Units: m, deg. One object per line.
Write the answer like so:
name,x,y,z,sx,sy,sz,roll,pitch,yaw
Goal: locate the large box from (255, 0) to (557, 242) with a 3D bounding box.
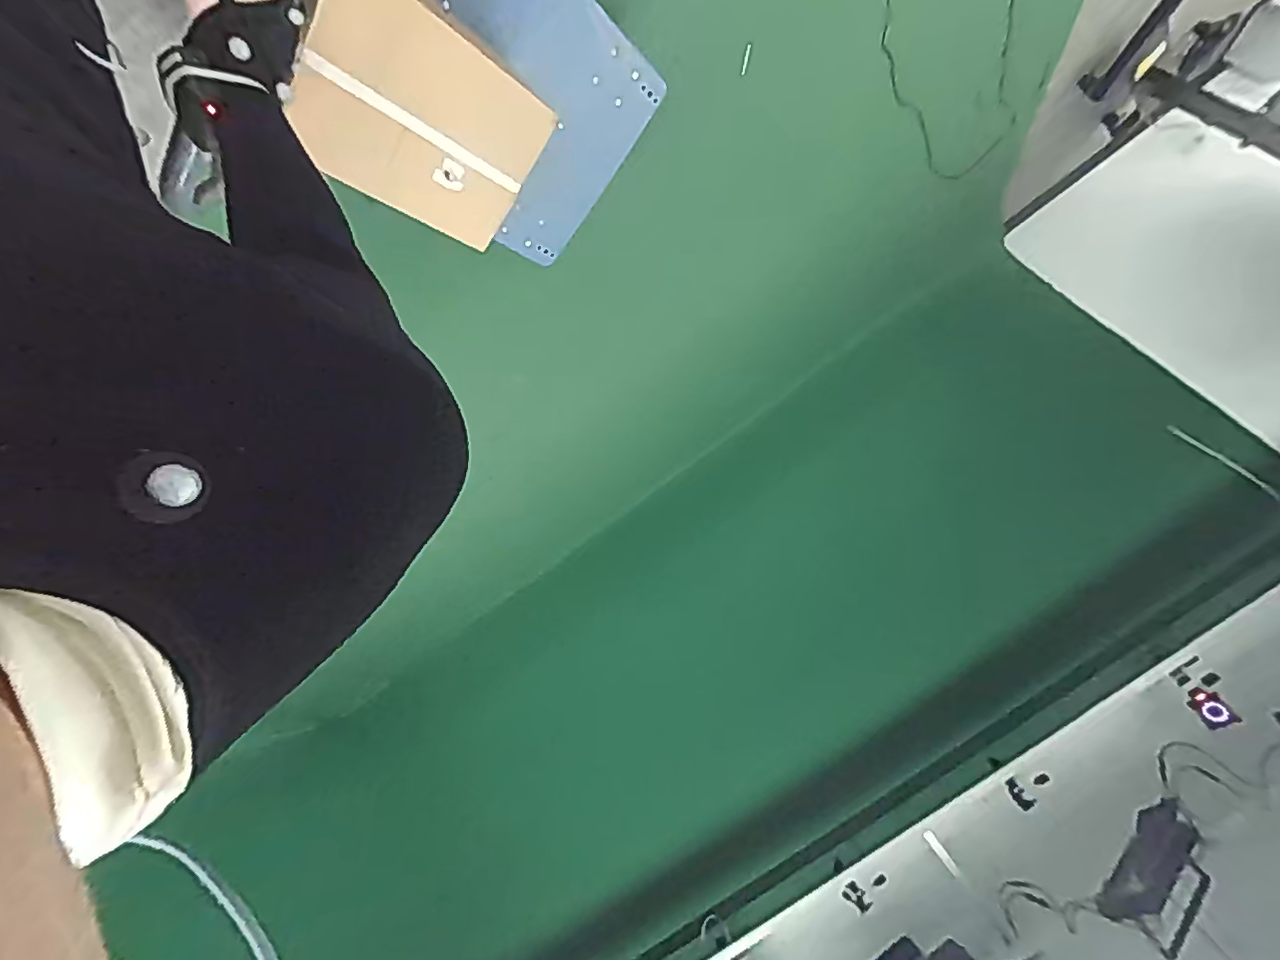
large box,-0.448,-0.746,1.036,0.408,0.320,0.320,10,131,-50
